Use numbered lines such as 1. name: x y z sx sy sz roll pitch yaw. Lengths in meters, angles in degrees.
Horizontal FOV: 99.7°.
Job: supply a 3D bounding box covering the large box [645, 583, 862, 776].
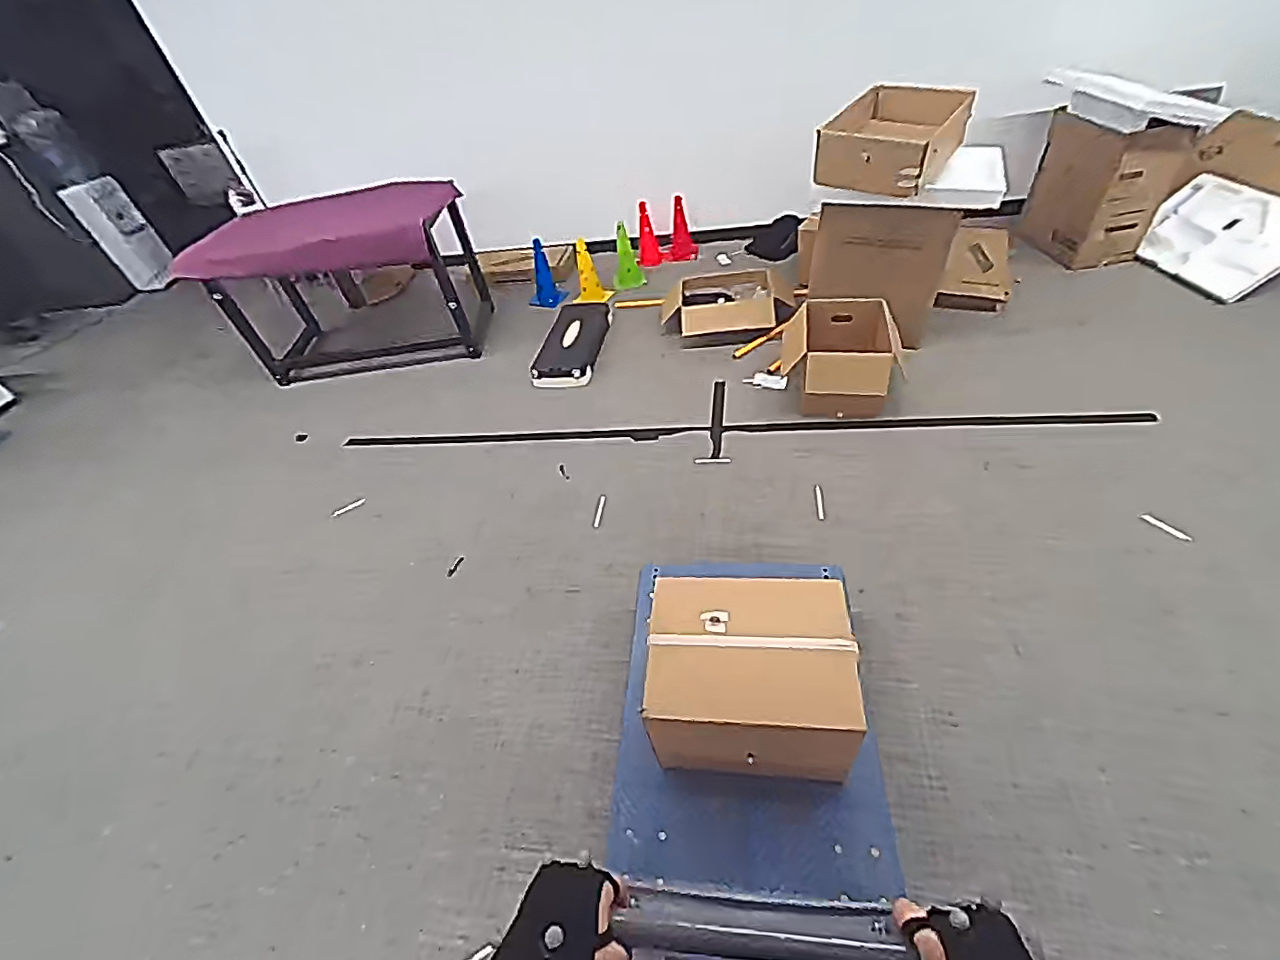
1. large box: 0.242 0.446 1.207 0.408 0.320 0.320 -2 45 11
